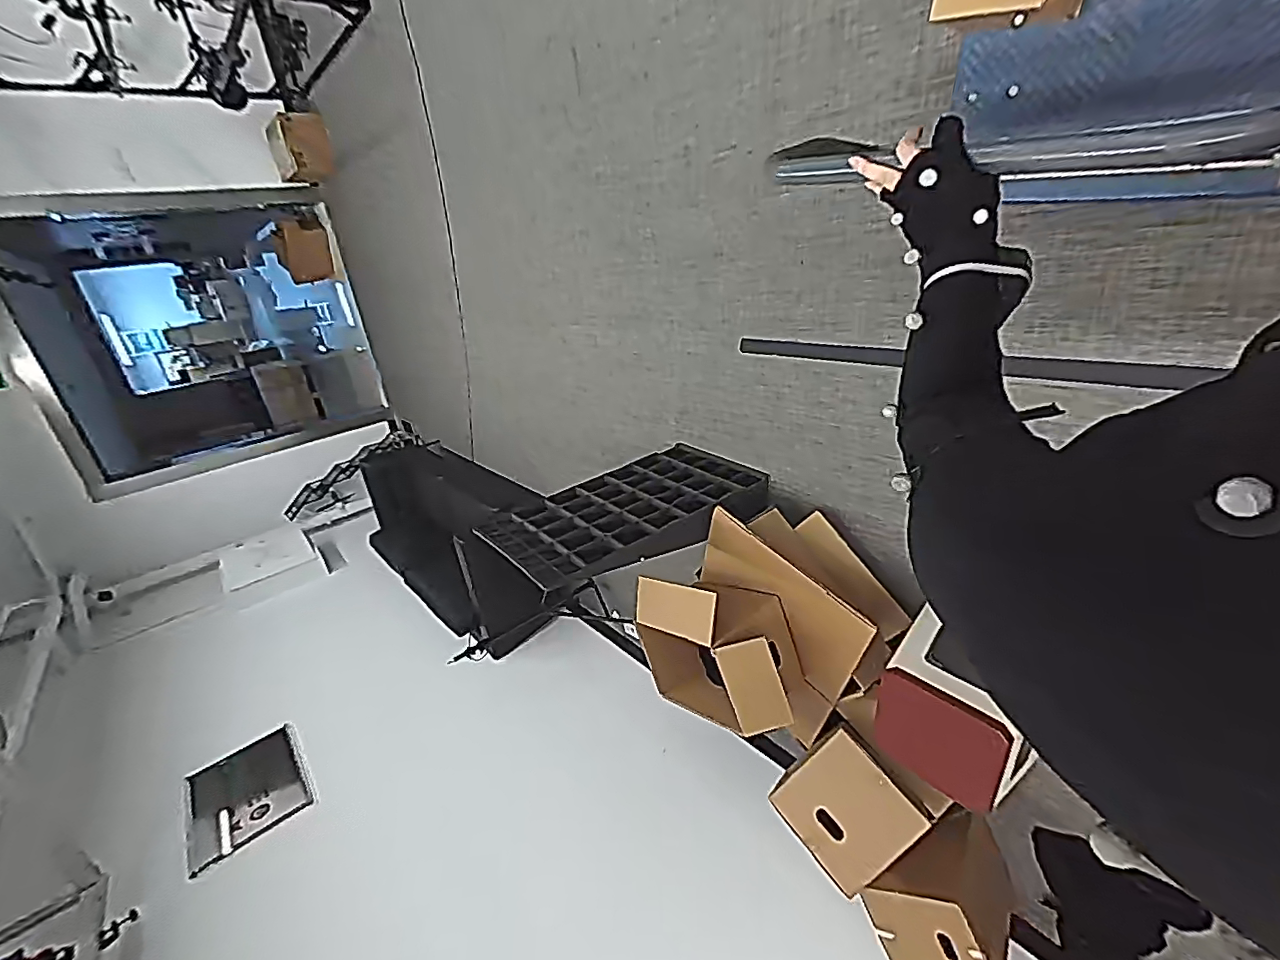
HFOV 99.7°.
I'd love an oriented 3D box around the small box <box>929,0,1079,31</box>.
[{"bbox_3d":[0.609,-0.845,0.870,0.179,0.176,0.168,30,132,38],"label":"small box"}]
